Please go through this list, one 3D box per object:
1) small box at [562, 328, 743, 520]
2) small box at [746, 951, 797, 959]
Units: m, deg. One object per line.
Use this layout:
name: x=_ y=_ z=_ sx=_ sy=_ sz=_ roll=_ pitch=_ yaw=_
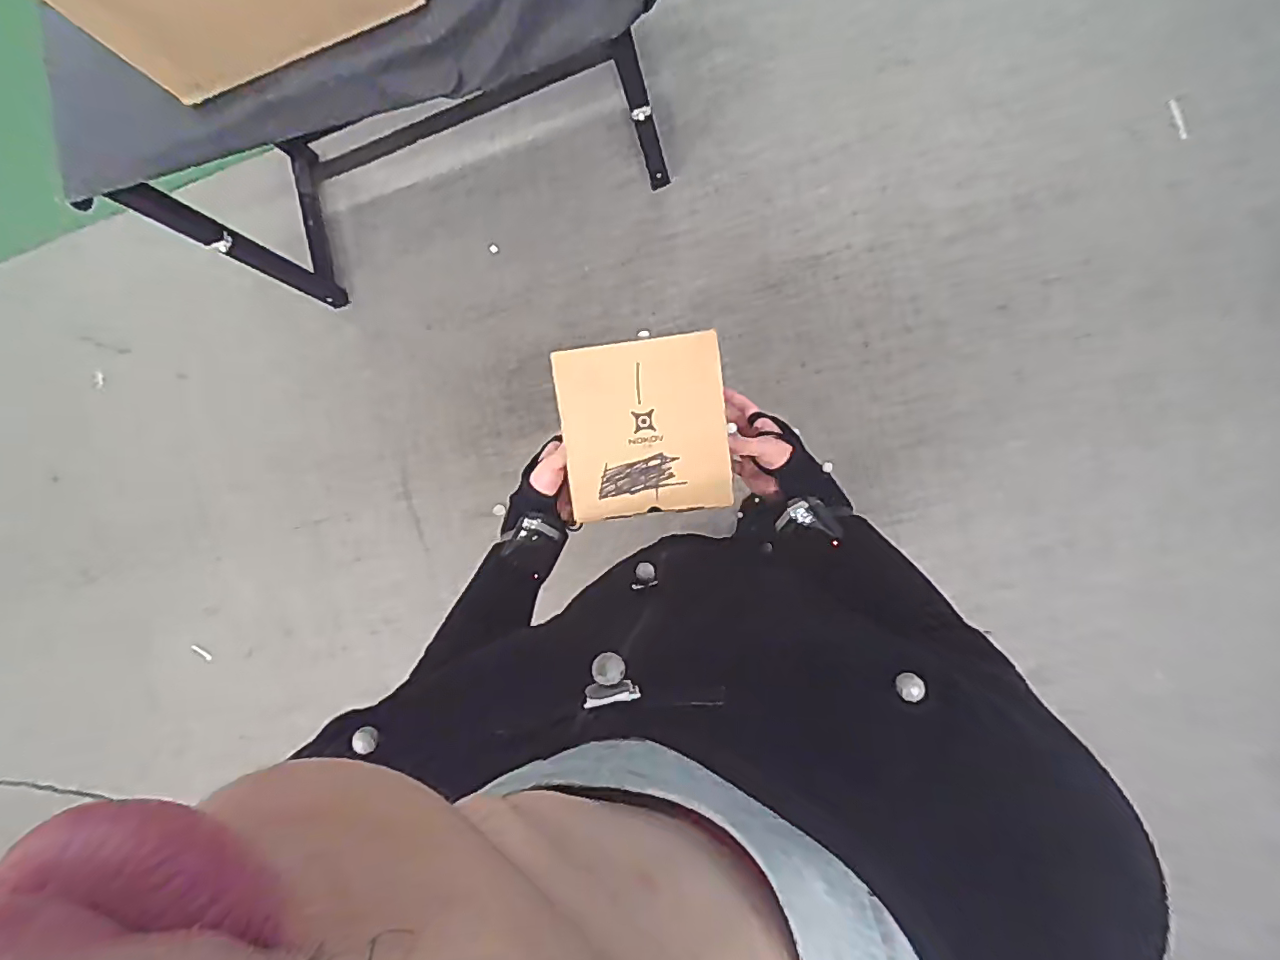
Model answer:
small box: x=0.020 y=-0.066 z=0.611 sx=0.168 sy=0.176 sz=0.179 roll=-7 pitch=99 yaw=5
small box: x=0.193 y=0.860 z=0.795 sx=0.168 sy=0.176 sz=0.179 roll=-21 pitch=84 yaw=9
